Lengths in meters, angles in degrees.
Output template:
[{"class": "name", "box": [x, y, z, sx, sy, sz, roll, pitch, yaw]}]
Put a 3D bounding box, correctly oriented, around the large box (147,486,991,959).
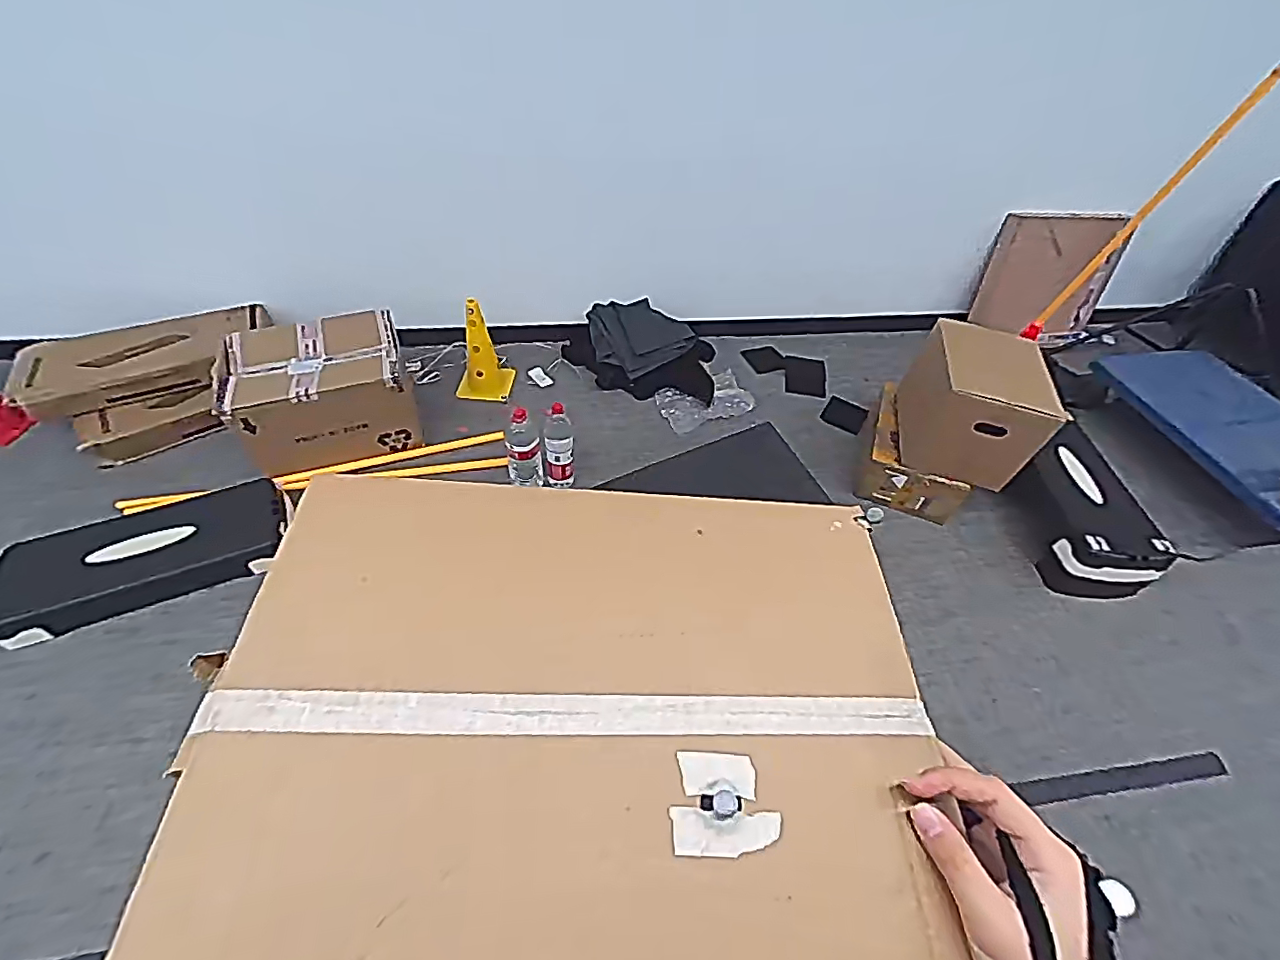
[{"class": "large box", "box": [-0.042, 0.227, 0.436, 0.408, 0.320, 0.320, 5, 54, -8]}]
